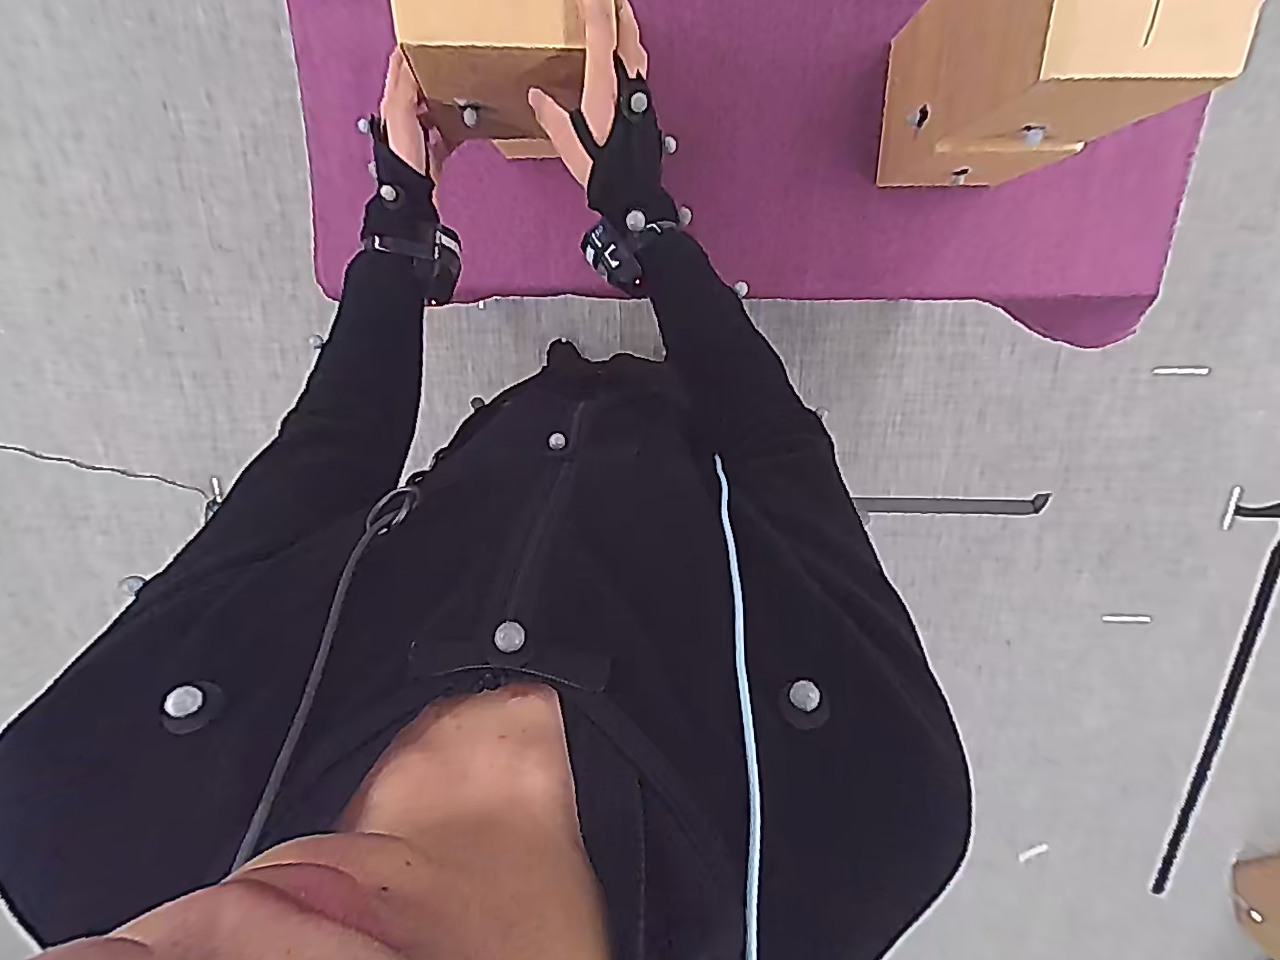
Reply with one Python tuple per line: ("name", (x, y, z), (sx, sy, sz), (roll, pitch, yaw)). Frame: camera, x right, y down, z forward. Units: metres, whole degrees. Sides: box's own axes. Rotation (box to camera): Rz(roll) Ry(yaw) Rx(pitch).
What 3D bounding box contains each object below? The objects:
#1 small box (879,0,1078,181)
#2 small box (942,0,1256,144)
("small box", (0.412, -0.477, 0.661), (0.168, 0.176, 0.179), (0, 107, 0))
("small box", (0.411, -0.438, 0.501), (0.168, 0.176, 0.179), (1, 108, 1))
